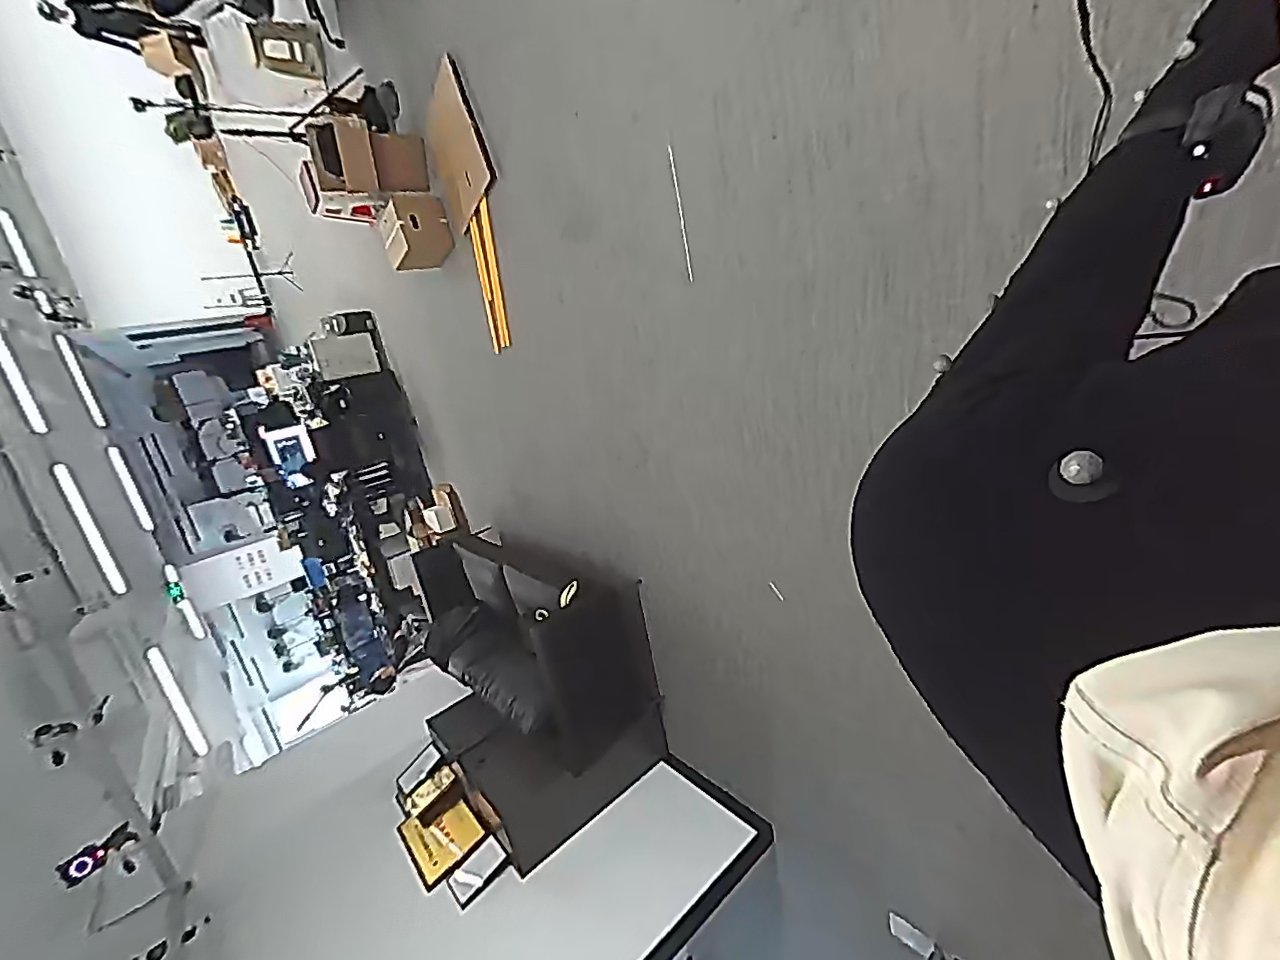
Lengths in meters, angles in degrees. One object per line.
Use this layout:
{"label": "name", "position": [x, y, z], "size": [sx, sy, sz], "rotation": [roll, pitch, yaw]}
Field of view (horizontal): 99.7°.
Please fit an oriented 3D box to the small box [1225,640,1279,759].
{"label": "small box", "position": [1.373, 0.472, 1.139], "size": [0.168, 0.176, 0.179], "rotation": [7, 113, 52]}
